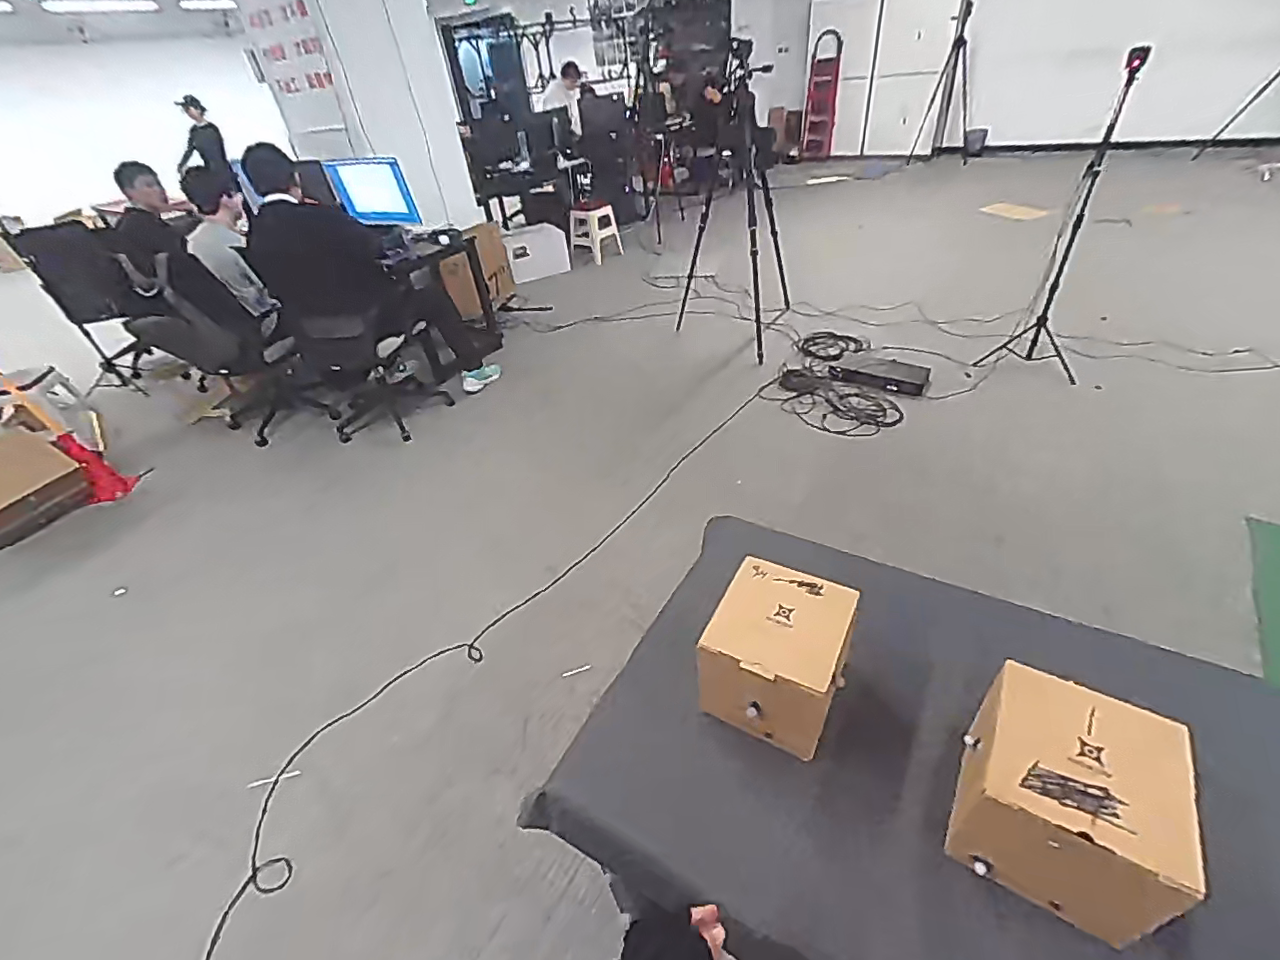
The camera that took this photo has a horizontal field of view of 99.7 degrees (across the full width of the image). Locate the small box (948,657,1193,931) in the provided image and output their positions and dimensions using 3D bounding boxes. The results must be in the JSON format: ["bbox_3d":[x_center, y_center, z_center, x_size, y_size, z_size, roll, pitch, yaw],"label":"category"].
[{"bbox_3d":[0.462,0.343,0.600,0.168,0.176,0.179,19,44,30],"label":"small box"}]

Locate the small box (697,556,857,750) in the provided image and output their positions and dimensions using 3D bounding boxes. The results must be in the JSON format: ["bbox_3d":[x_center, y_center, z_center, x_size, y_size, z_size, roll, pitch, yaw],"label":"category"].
[{"bbox_3d":[0.197,0.246,0.774,0.168,0.176,0.179,16,44,28],"label":"small box"}]
